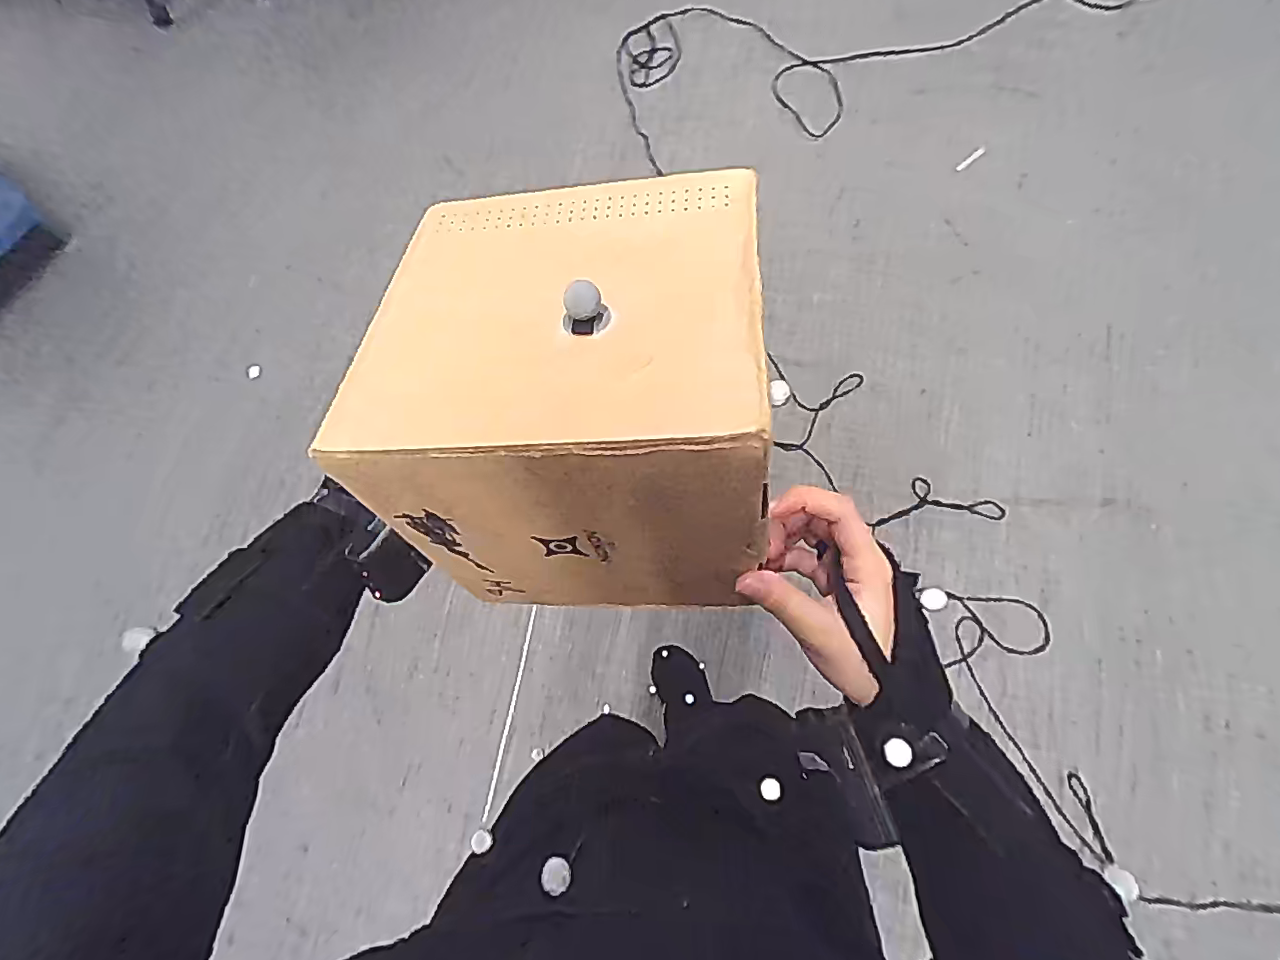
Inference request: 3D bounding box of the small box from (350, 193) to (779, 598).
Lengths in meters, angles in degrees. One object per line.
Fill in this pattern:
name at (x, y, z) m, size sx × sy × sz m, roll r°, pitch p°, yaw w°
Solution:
small box at (-0.020, -0.041, 0.315) m, size 0.179 × 0.168 × 0.176 m, roll -2°, pitch 57°, yaw 10°
